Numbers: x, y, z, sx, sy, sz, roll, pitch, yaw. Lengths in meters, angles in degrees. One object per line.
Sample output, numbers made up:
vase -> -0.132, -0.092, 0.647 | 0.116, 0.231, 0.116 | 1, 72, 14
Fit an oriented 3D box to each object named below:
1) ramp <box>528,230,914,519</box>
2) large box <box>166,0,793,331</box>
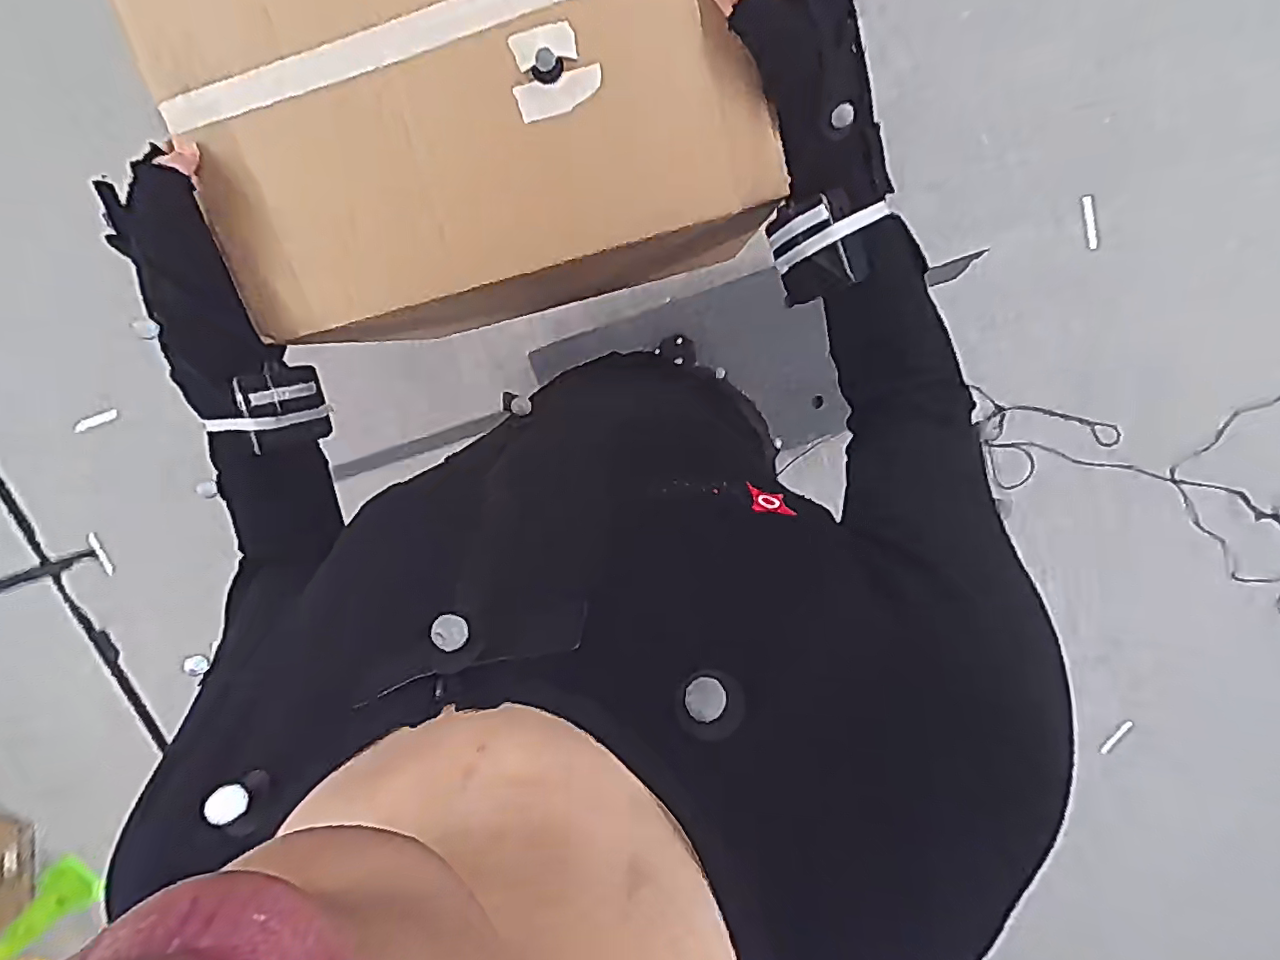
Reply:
ramp -> 0.247, -0.289, 1.487 | 0.991, 0.206, 0.509 | -20, 100, 6
large box -> -0.113, -0.346, 0.512 | 0.408, 0.320, 0.320 | -13, 104, 6
